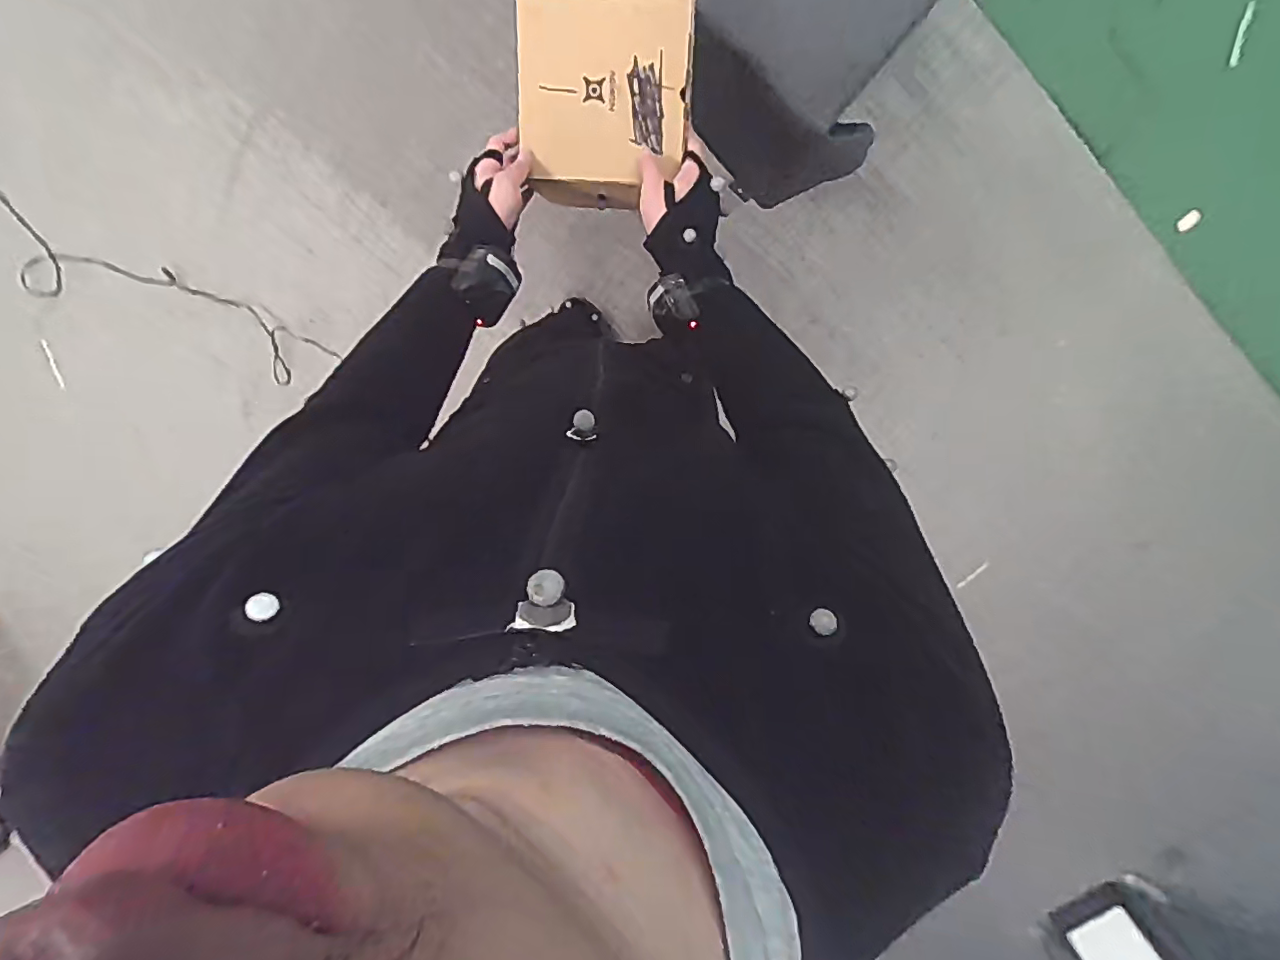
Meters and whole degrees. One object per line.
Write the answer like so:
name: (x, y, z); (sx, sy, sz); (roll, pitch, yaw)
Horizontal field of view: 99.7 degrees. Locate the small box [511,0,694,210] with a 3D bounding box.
small box: (-0.036, -0.411, 0.608); (0.179, 0.176, 0.168); (4, 107, 3)
